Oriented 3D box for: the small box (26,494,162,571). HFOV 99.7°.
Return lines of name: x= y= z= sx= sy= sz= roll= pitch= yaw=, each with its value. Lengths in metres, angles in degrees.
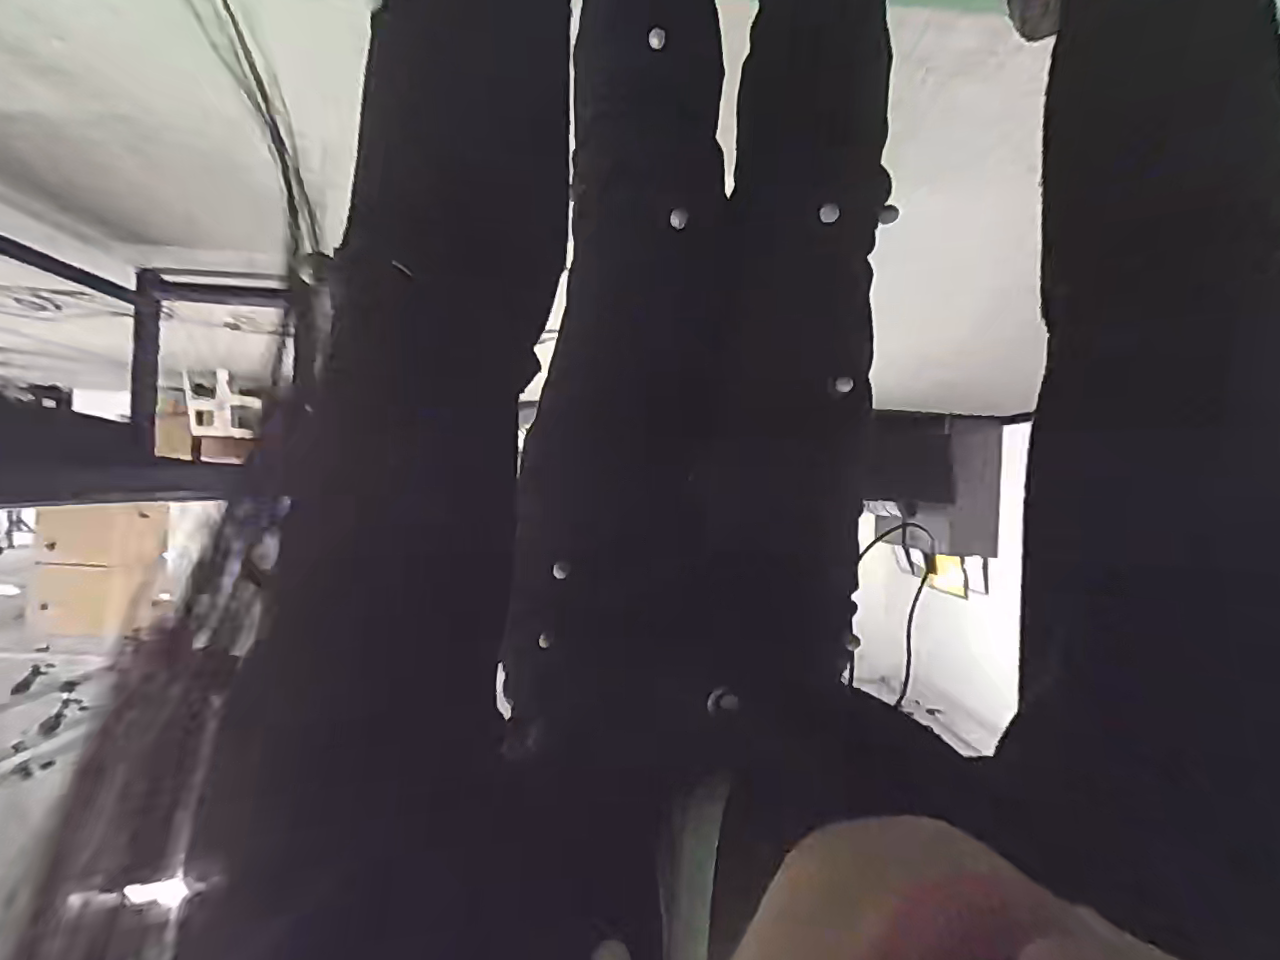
small box: x=-1.321 y=0.122 z=1.322 sx=0.179 sy=0.176 sz=0.168 roll=3 pitch=180 yaw=-4
